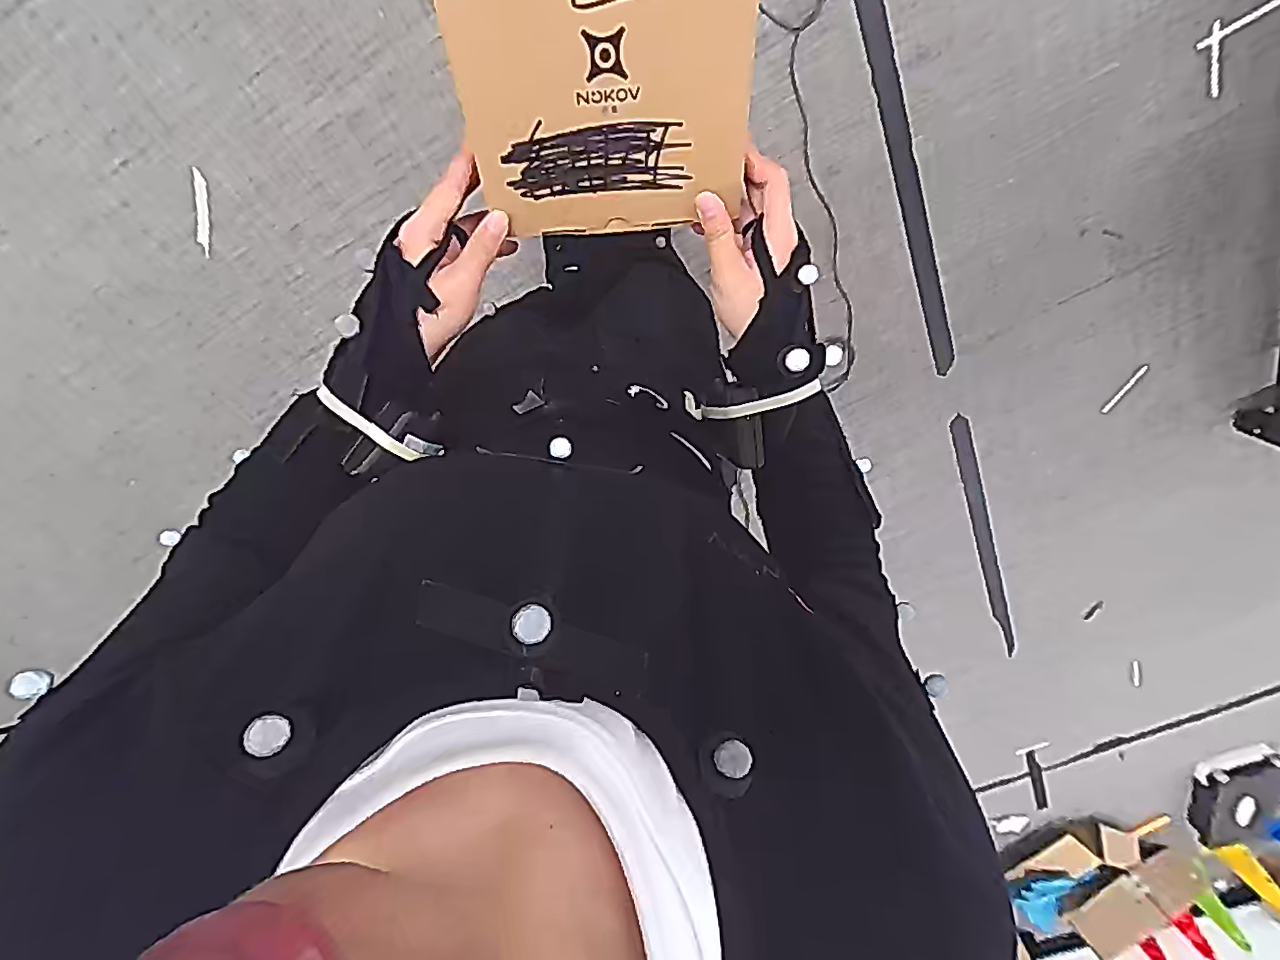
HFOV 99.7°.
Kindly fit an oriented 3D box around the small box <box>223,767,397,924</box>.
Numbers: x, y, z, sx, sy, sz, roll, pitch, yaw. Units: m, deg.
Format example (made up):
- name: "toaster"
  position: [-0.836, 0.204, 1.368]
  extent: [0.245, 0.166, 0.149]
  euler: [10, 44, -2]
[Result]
- name: "small box"
  position: [-0.583, 0.654, 0.983]
  extent: [0.168, 0.176, 0.179]
  euler: [-28, 119, 11]
